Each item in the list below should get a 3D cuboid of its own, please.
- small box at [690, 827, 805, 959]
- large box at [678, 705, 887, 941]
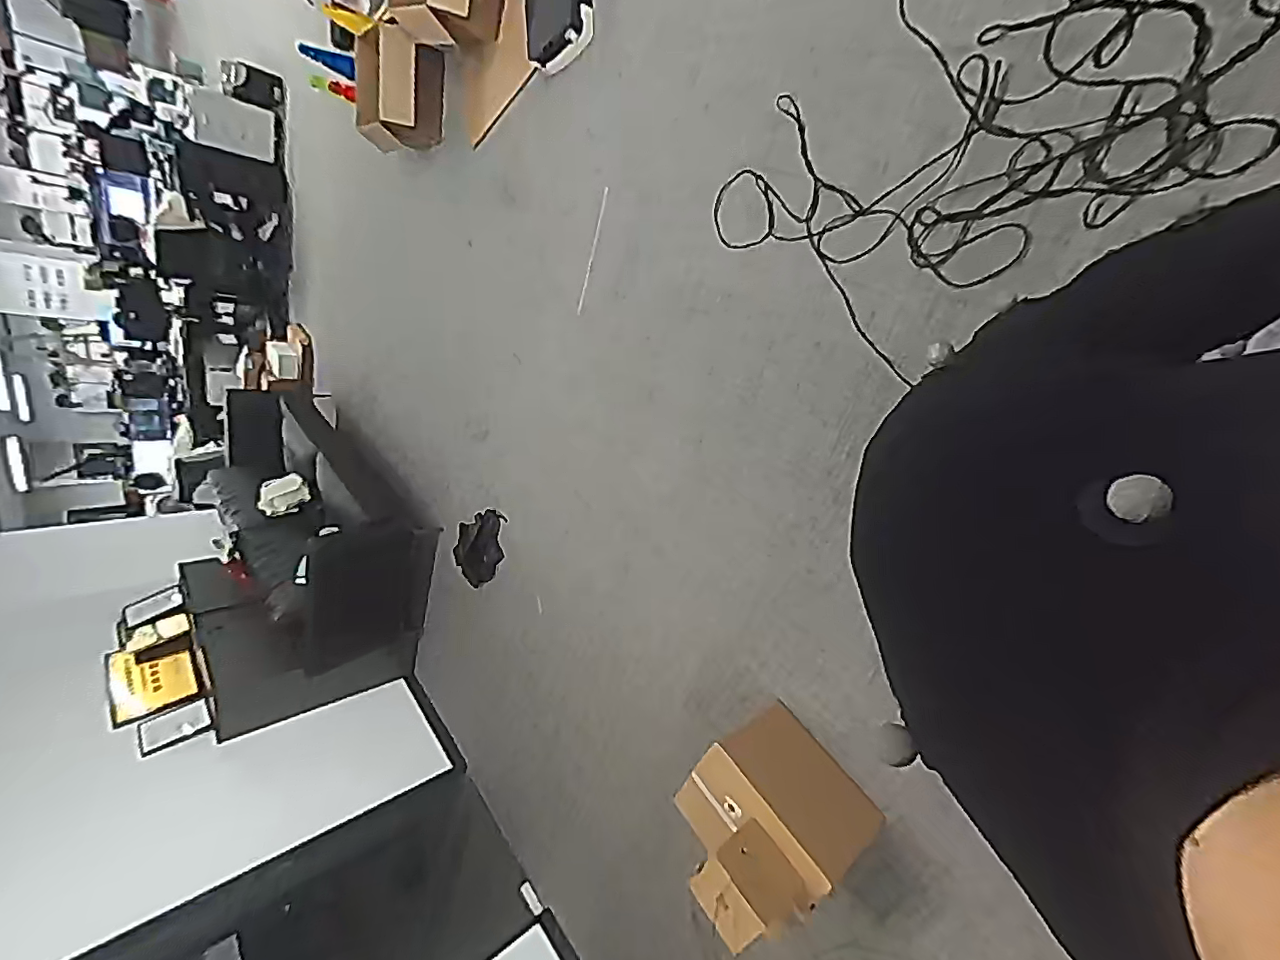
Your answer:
[{"bbox_3d":[0.260,0.985,1.308,0.179,0.176,0.168,43,125,32],"label":"small box"},{"bbox_3d":[0.389,0.933,1.518,0.408,0.320,0.320,45,124,34],"label":"large box"}]
